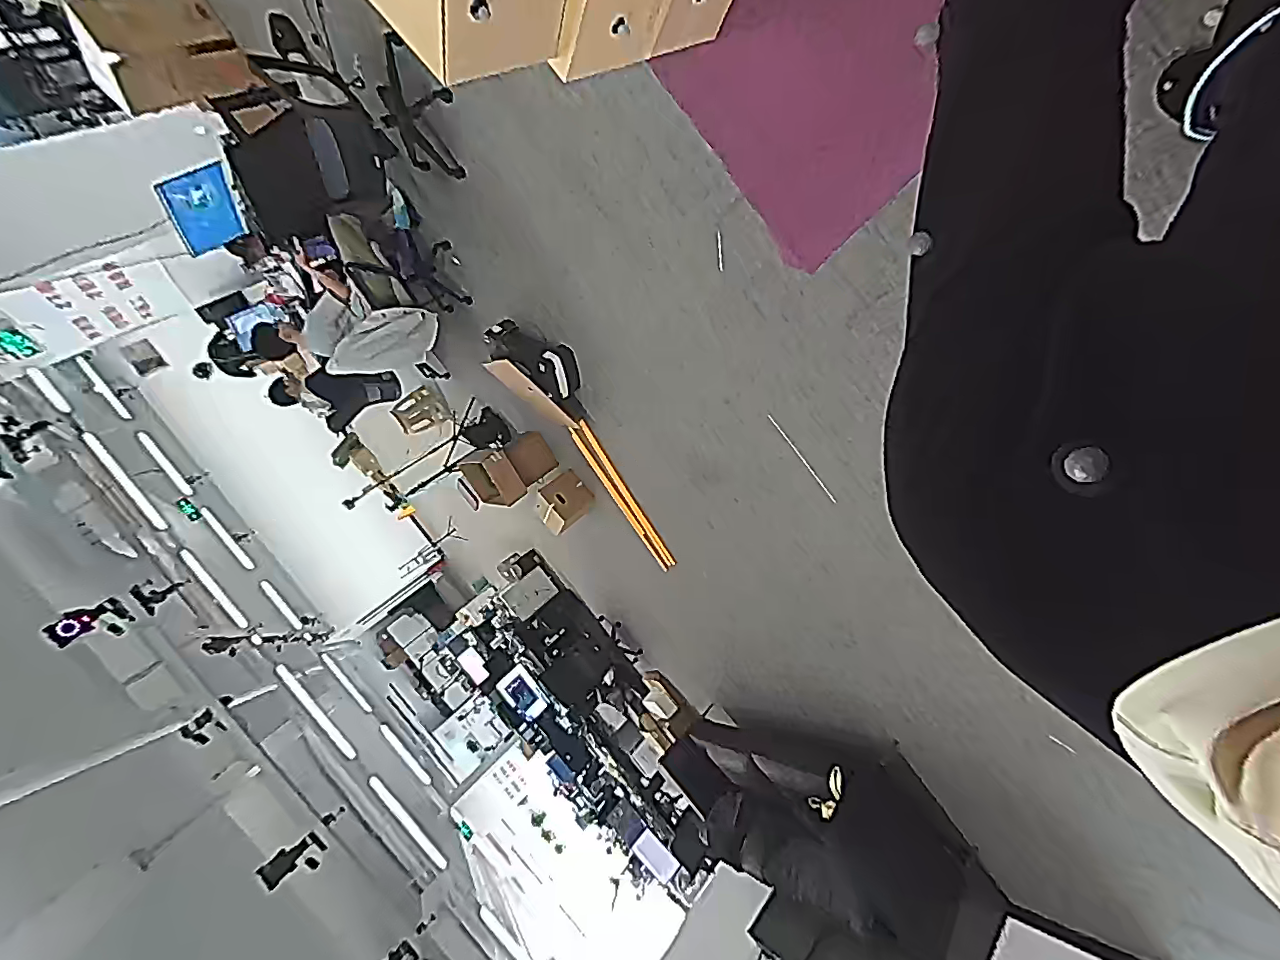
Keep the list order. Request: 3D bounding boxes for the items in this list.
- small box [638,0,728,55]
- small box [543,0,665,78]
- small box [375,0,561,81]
[{"bbox_3d":[0.040,-0.750,0.747,0.168,0.176,0.179,50,153,1],"label":"small box"},{"bbox_3d":[-0.065,-0.656,0.667,0.179,0.176,0.168,51,152,0],"label":"small box"},{"bbox_3d":[-0.189,-0.587,0.580,0.168,0.176,0.179,49,152,3],"label":"small box"}]
